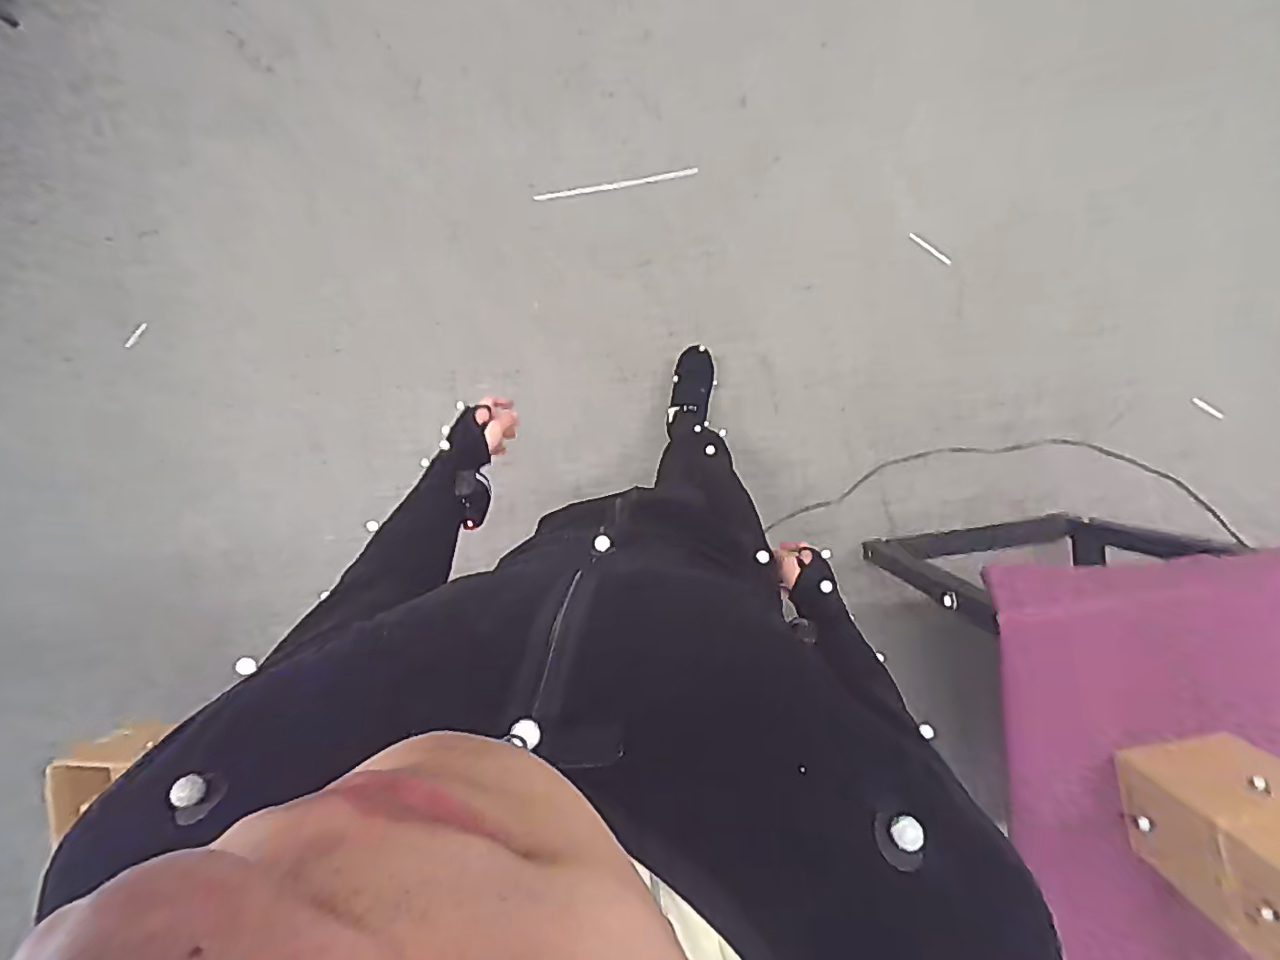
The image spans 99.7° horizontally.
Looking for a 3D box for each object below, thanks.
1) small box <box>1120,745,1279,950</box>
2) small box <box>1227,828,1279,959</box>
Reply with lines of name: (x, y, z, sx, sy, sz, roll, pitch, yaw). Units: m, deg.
small box: (0.841, 0.500, 0.760, 0.179, 0.176, 0.168, -12, 92, 5)
small box: (0.833, 0.511, 0.598, 0.179, 0.176, 0.168, -14, 92, 5)
